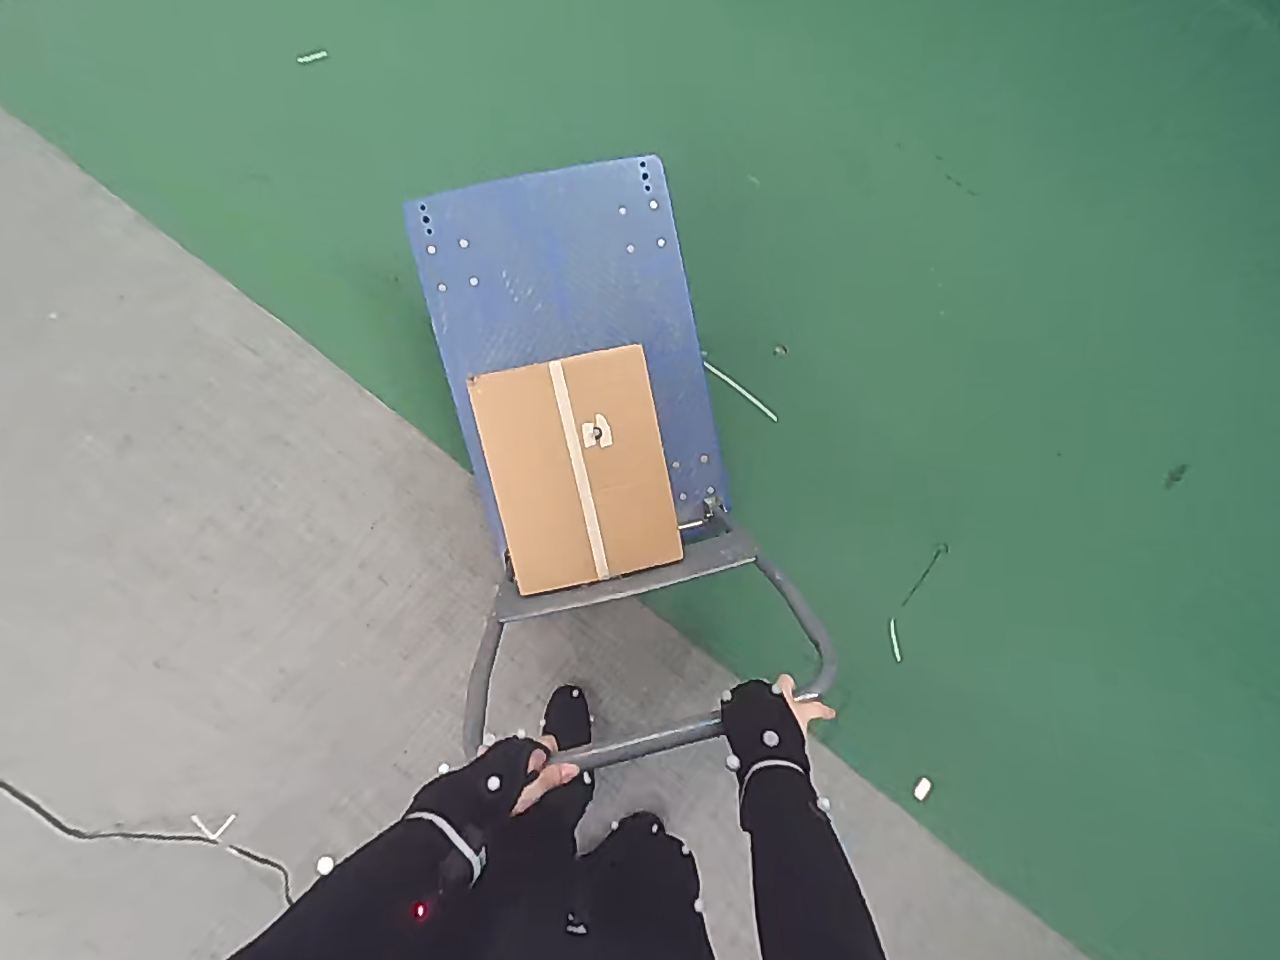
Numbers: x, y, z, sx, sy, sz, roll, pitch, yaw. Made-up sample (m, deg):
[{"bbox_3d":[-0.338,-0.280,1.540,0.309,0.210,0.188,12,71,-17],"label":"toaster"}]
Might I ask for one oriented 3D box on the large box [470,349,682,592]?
[{"bbox_3d":[-0.122,-0.030,1.140,0.320,0.320,0.408,-13,98,-4],"label":"large box"}]
